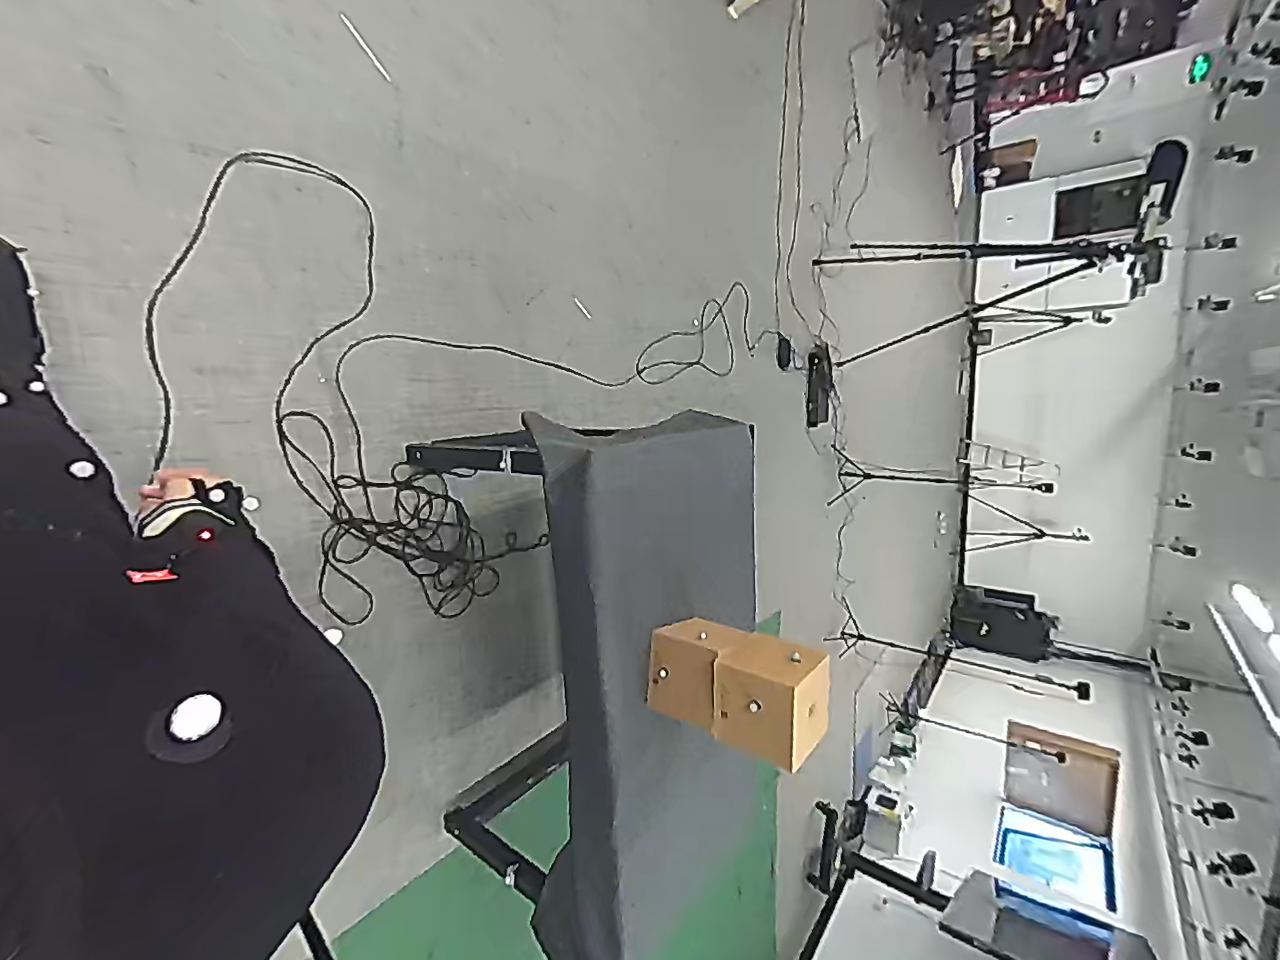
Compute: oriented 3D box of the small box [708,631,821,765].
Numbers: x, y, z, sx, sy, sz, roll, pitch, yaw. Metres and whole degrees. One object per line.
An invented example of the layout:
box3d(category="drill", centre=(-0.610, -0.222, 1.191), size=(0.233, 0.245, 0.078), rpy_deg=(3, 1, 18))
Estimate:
box3d(category="small box", centre=(0.245, 0.417, 1.068), size=(0.179, 0.176, 0.168), rpy_deg=(-10, 102, -51))
